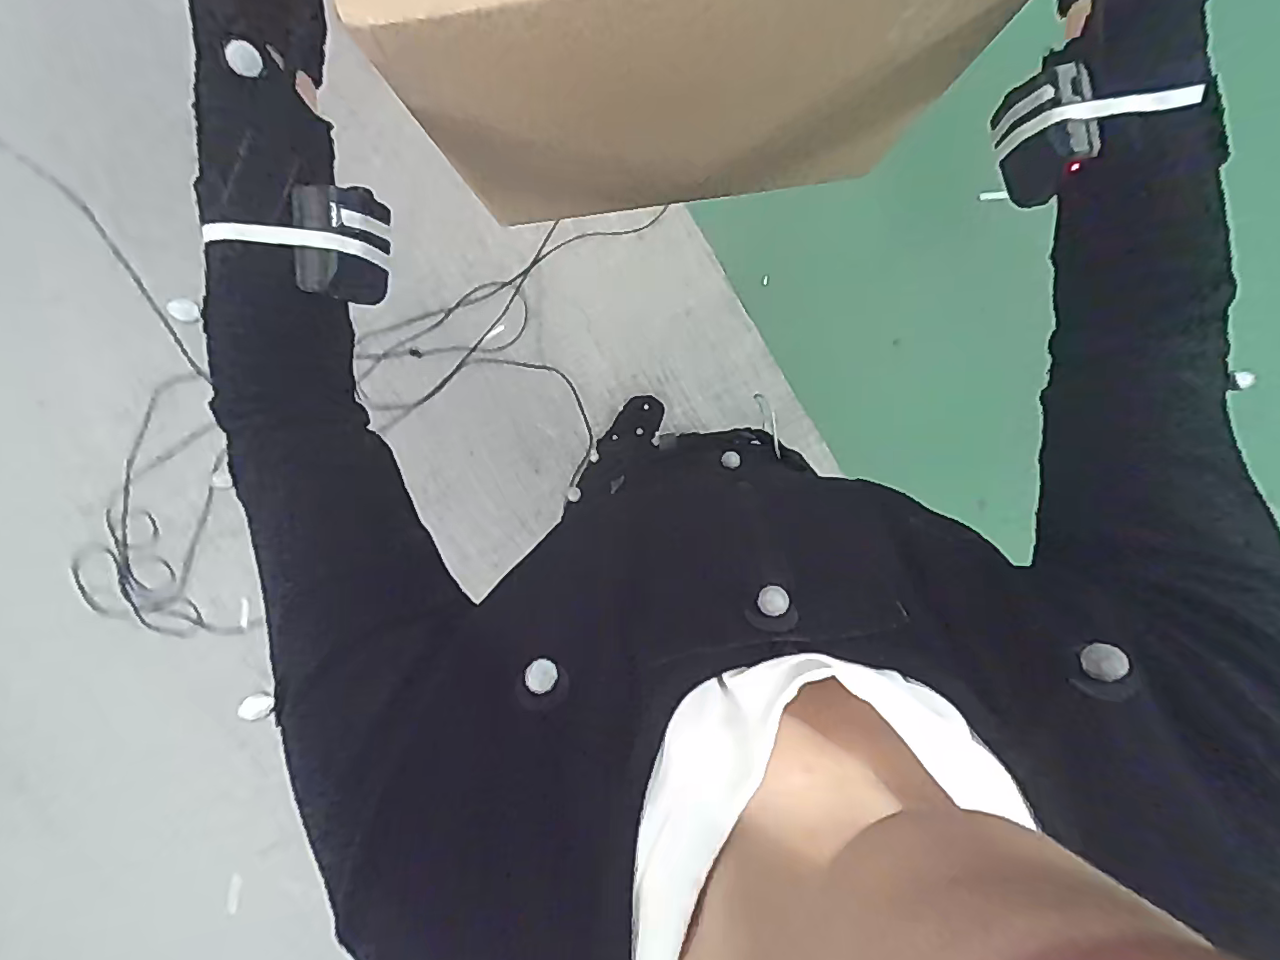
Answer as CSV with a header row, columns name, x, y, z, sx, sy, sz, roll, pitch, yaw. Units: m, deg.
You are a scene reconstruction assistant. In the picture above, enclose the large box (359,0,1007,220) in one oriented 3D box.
name,x,y,z,sx,sy,sz,roll,pitch,yaw
large box,0.023,-0.438,0.419,0.408,0.320,0.320,-7,97,1
